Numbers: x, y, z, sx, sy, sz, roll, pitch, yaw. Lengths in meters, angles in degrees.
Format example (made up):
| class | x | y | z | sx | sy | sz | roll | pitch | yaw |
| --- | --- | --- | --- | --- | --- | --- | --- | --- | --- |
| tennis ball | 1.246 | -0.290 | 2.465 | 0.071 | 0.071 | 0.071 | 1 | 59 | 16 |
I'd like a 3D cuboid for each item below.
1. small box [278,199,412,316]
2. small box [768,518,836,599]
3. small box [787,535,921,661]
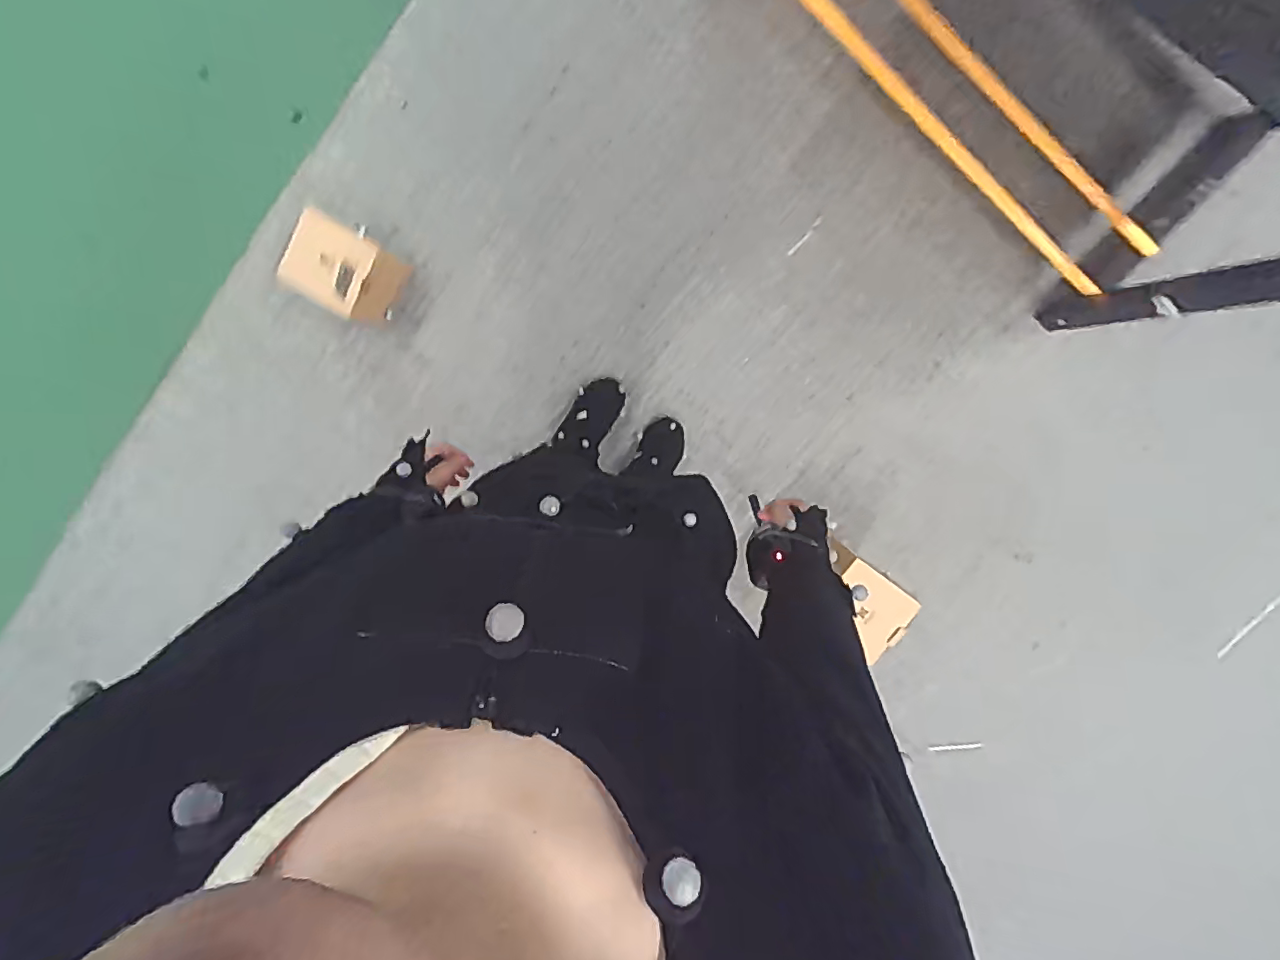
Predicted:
| class | x | y | z | sx | sy | sz | roll | pitch | yaw |
| --- | --- | --- | --- | --- | --- | --- | --- | --- | --- |
| small box | -0.646 | -0.484 | 1.208 | 0.179 | 0.176 | 0.168 | 31 | 100 | -3 |
| small box | 0.436 | 0.216 | 1.315 | 0.168 | 0.176 | 0.179 | 36 | 99 | -5 |
| small box | 0.444 | 0.241 | 1.153 | 0.179 | 0.176 | 0.168 | 36 | 99 | -5 |
